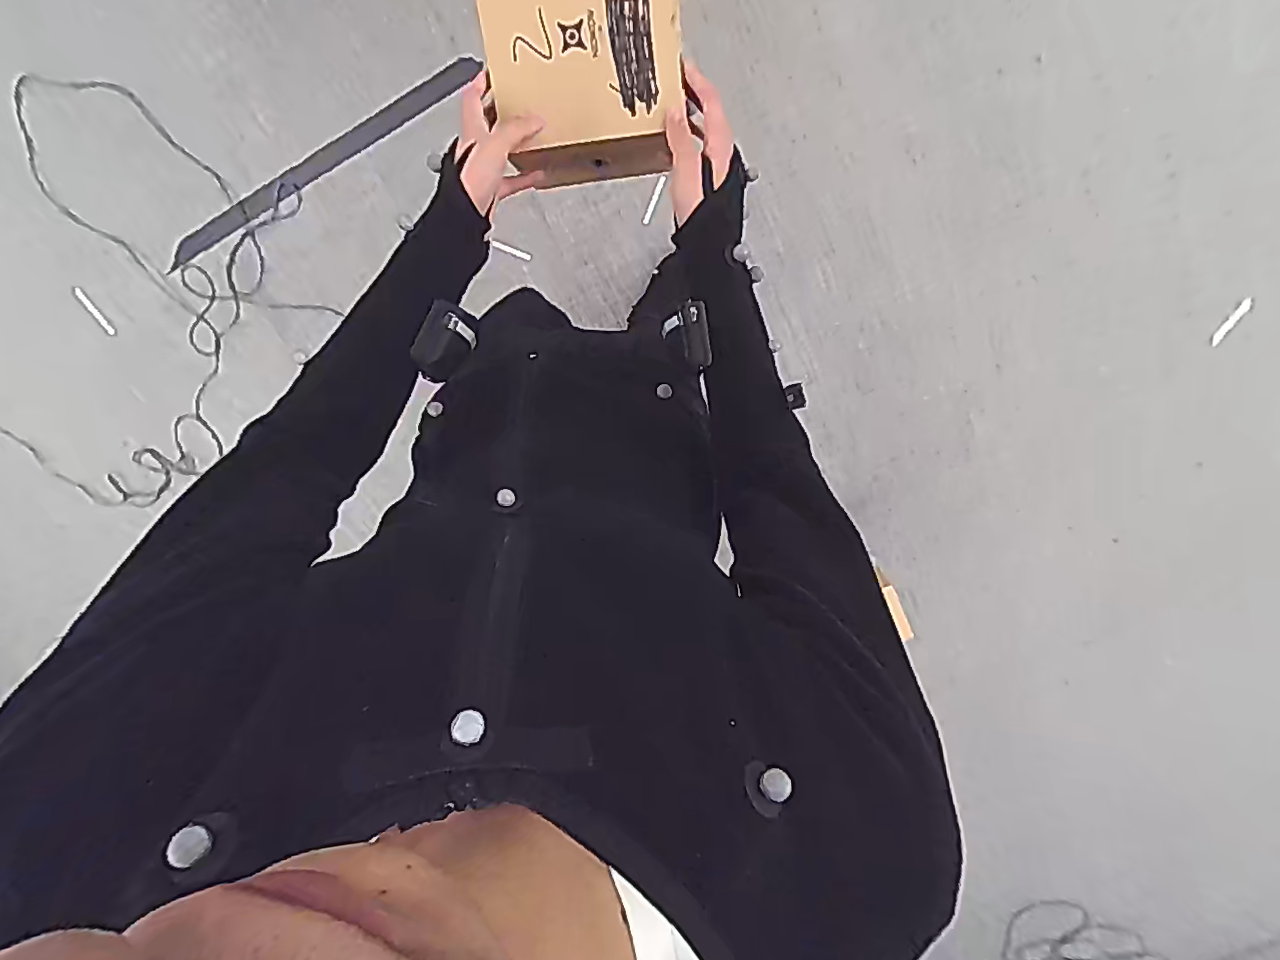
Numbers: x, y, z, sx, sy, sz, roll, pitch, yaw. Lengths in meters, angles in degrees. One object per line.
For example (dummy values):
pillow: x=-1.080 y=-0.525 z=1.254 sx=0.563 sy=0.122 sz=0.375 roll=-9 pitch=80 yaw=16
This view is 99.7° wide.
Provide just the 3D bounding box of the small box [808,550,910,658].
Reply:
small box: x=0.553 y=0.312 z=1.379 sx=0.168 sy=0.176 sz=0.179 roll=-26 pitch=110 yaw=11
